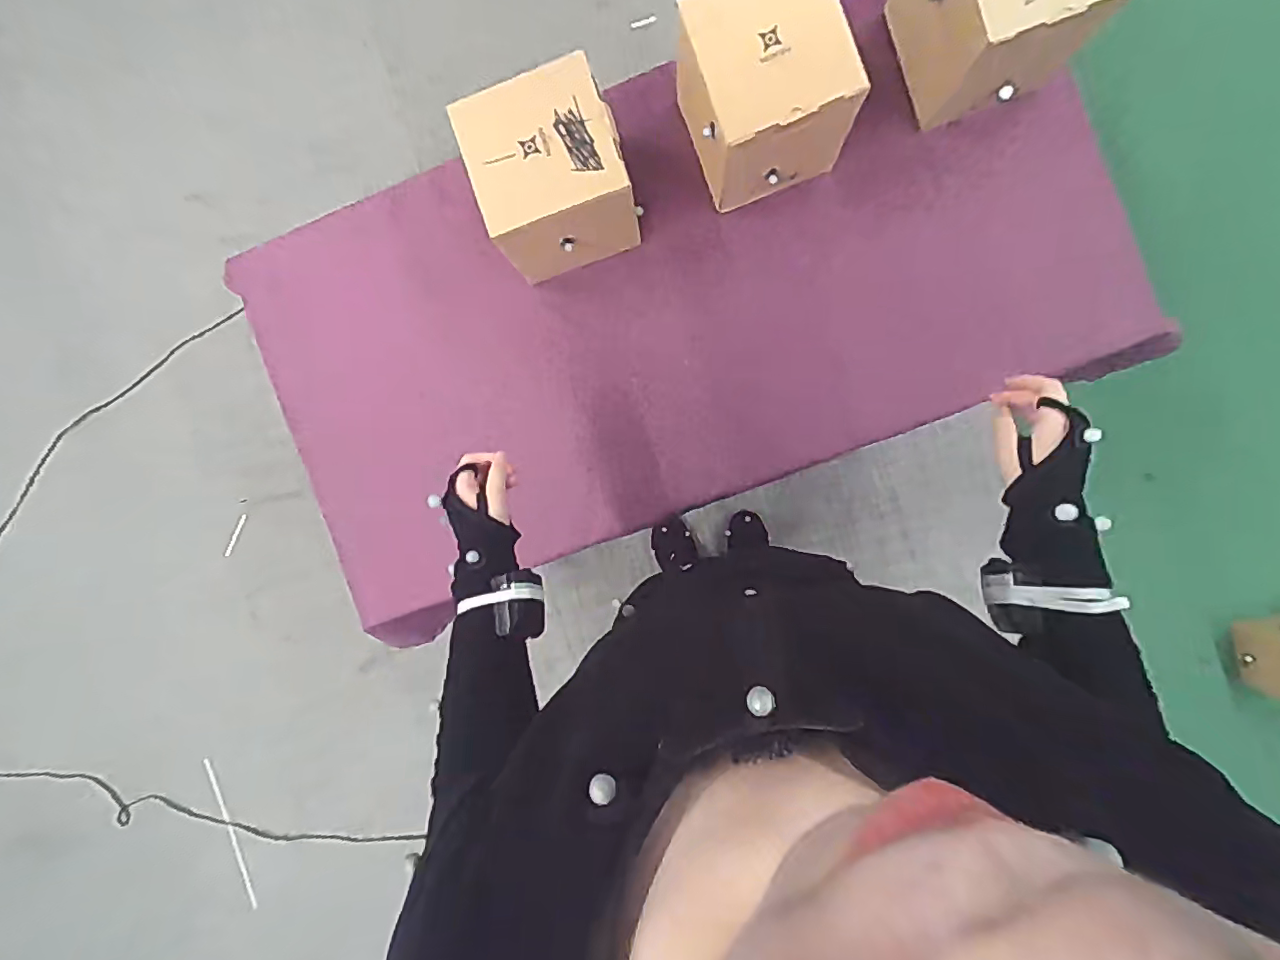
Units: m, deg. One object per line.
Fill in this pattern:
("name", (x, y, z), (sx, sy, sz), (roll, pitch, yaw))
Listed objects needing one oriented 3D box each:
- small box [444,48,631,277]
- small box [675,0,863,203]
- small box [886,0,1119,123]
("small box", (-0.116, -0.391, 0.700), (0.179, 0.176, 0.168), (-18, 90, 6))
("small box", (0.146, -0.490, 0.676), (0.168, 0.176, 0.179), (-20, 91, 5))
("small box", (0.419, -0.579, 0.643), (0.168, 0.176, 0.179), (-18, 93, 6))
